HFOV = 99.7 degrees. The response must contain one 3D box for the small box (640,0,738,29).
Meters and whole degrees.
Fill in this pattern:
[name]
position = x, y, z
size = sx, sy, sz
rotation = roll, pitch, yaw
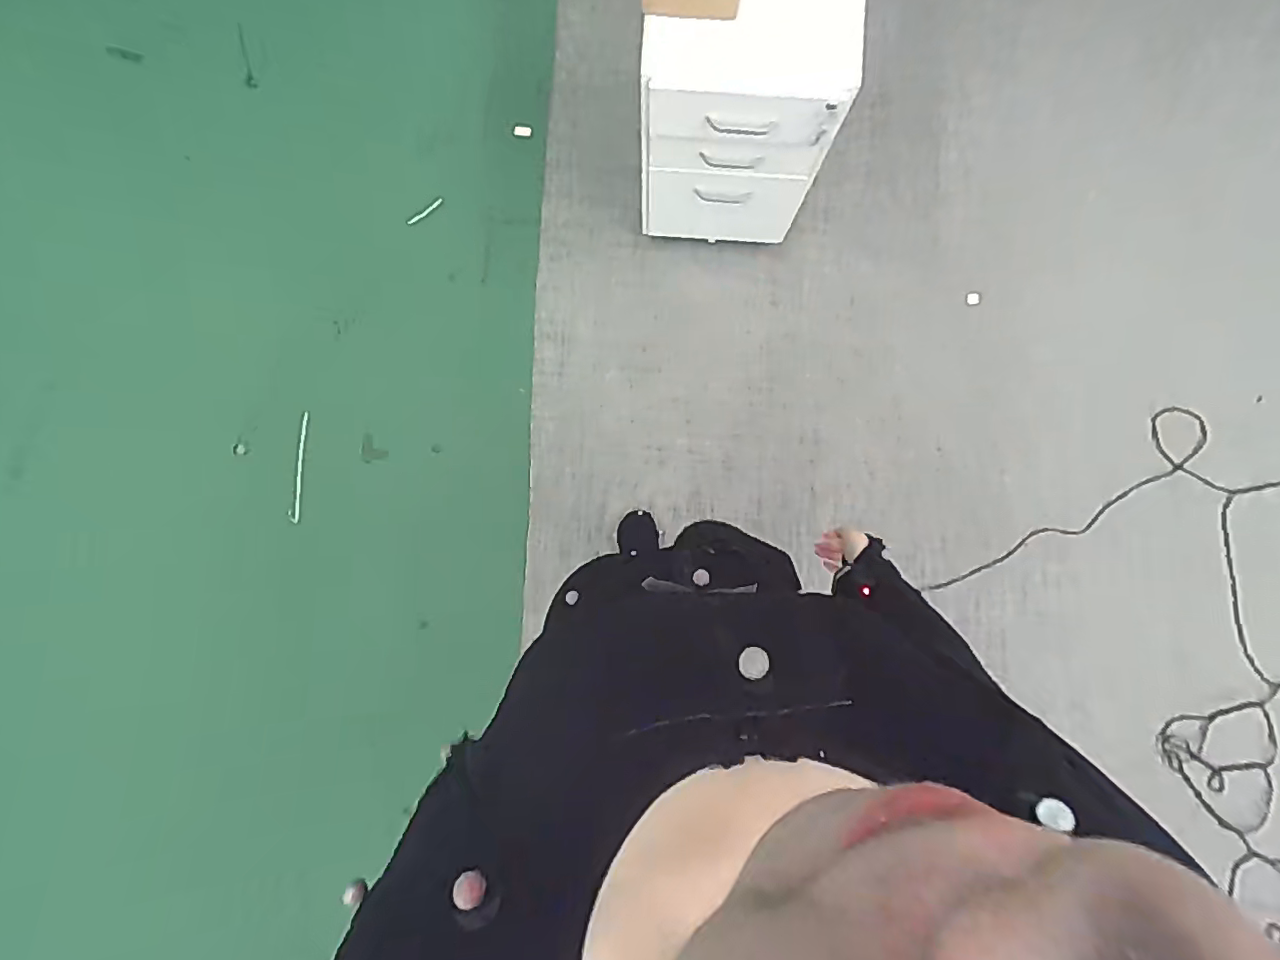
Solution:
[small box]
position = 0.090, -0.914, 0.916
size = 0.179, 0.176, 0.168
rotation = 3, 85, 0
